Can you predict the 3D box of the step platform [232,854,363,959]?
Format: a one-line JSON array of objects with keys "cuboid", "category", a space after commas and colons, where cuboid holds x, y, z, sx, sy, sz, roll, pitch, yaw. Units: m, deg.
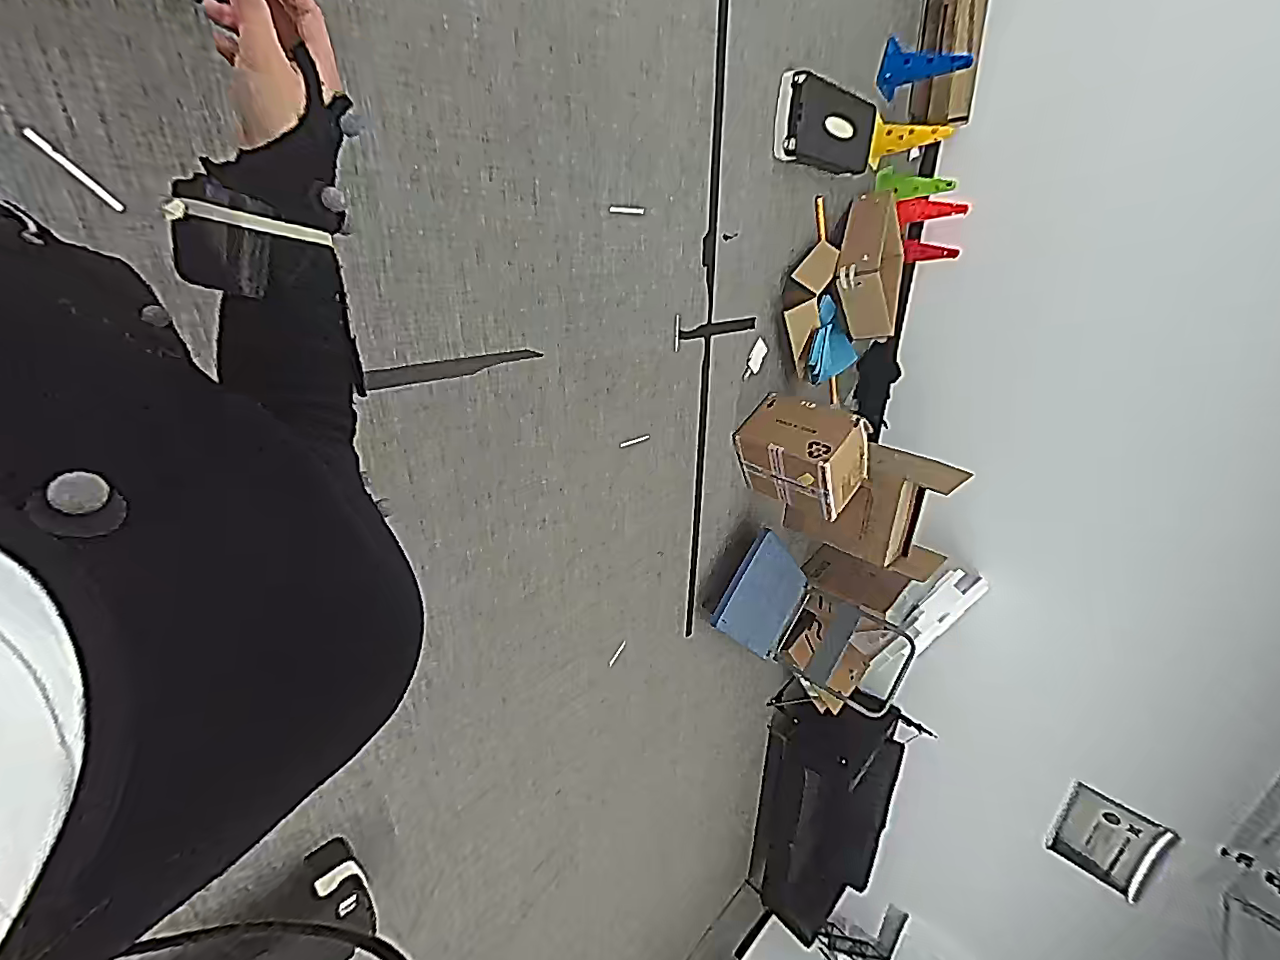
[{"cuboid": [-1.124, 1.382, 1.446, 0.684, 0.204, 0.286, -24, 125, -42], "category": "step platform"}]
